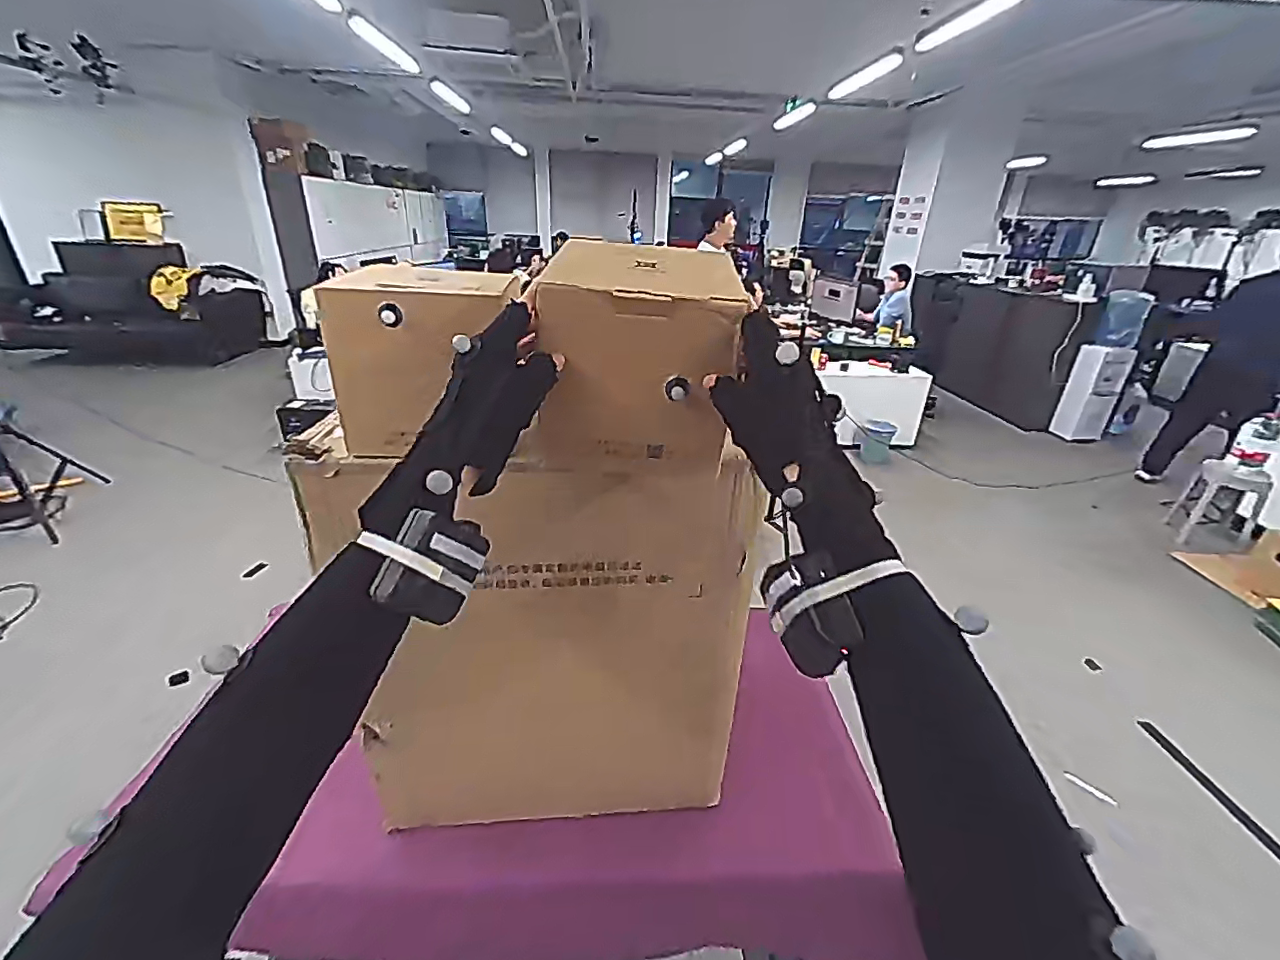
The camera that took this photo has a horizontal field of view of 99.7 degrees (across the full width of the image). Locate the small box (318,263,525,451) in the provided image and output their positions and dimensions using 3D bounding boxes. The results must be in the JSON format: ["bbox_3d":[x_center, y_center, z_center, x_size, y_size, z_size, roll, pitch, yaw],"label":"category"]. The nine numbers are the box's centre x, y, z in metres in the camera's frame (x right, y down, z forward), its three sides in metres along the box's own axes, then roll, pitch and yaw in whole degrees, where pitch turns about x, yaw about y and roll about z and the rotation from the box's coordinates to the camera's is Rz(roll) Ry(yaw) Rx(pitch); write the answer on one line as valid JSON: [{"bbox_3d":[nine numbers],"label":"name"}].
[{"bbox_3d":[-0.219,-0.140,0.595,0.168,0.176,0.179,0,25,-6],"label":"small box"}]

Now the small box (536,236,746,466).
[{"bbox_3d":[0.001,-0.128,0.523,0.168,0.176,0.179,5,33,-1],"label":"small box"}]
